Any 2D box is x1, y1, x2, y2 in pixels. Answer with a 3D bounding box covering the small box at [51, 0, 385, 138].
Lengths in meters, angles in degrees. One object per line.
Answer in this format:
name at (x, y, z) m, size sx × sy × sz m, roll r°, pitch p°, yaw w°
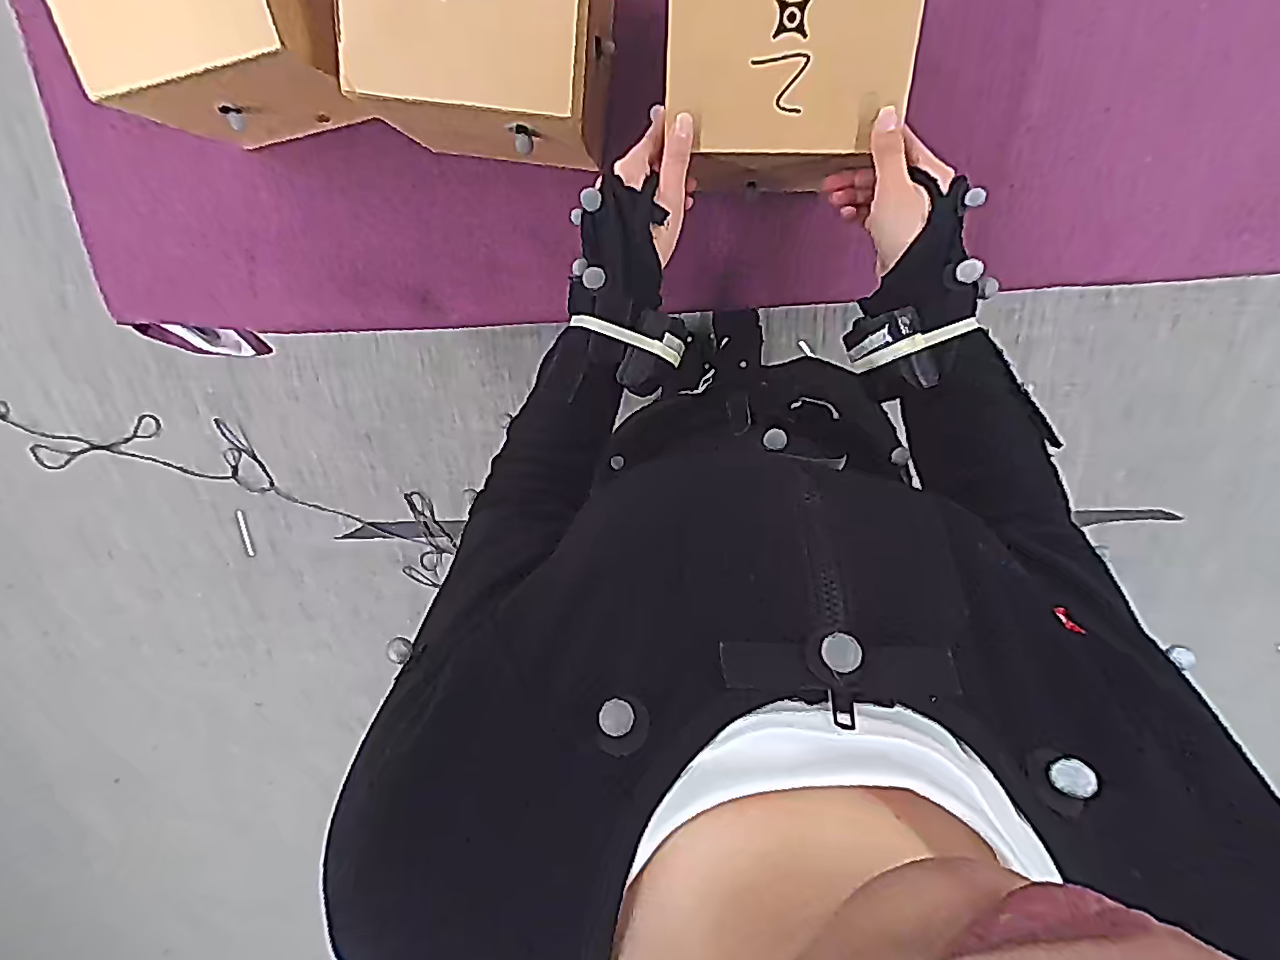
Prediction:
small box at (-0.350, -0.413, 0.454) m, size 0.168 × 0.176 × 0.179 m, roll -10°, pitch 108°, yaw 7°
